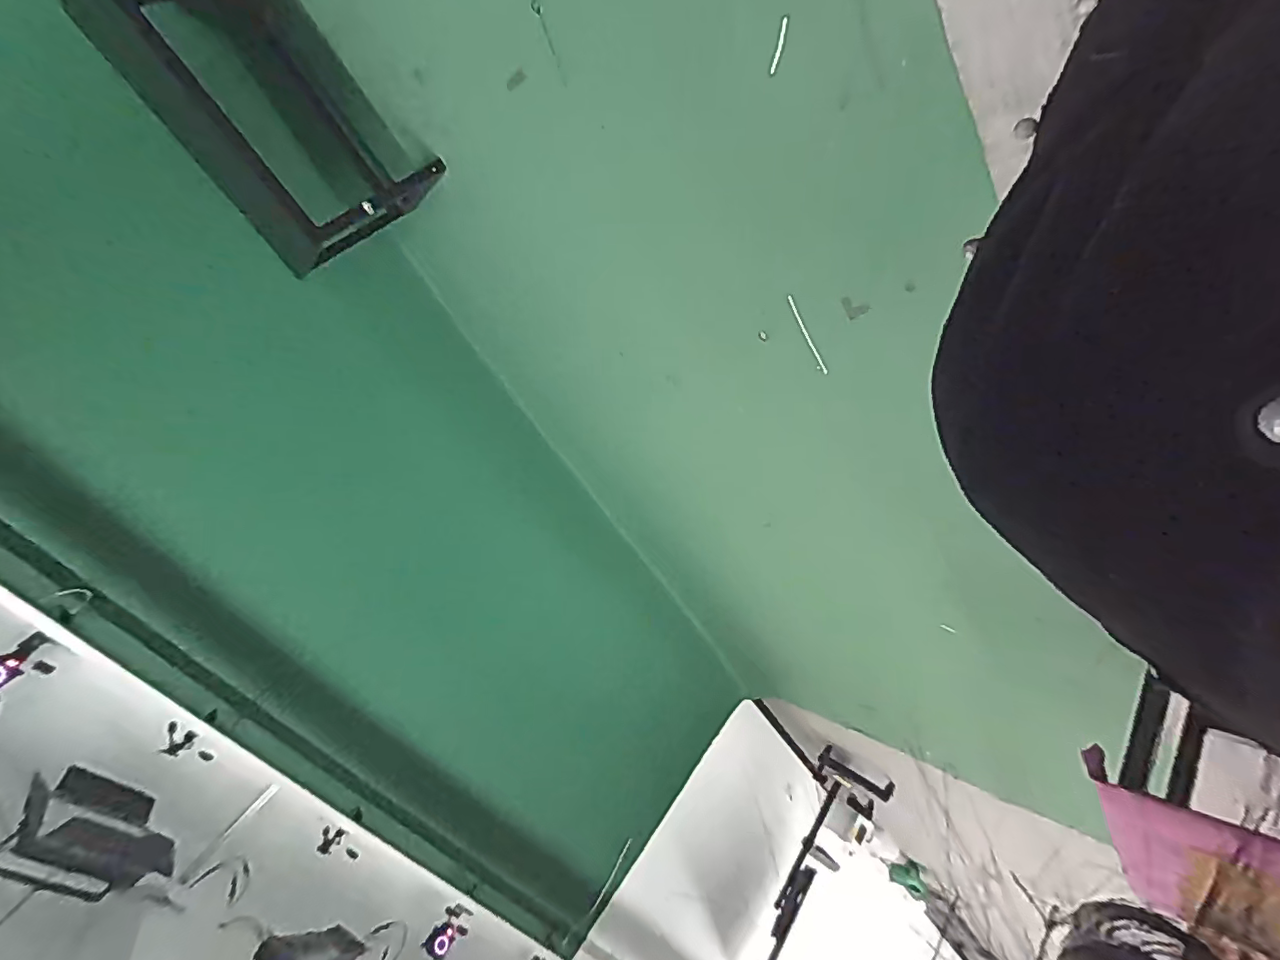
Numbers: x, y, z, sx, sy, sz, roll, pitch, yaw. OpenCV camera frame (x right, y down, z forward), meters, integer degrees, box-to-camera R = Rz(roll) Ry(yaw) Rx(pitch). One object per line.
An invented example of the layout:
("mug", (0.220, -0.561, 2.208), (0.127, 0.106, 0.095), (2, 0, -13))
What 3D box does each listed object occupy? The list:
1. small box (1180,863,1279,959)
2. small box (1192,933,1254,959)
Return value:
("small box", (1.319, 0.977, 1.169), (0.179, 0.176, 0.168), (1, 134, 56))
("small box", (1.215, 1.072, 1.083), (0.168, 0.176, 0.179), (10, 139, 50))
